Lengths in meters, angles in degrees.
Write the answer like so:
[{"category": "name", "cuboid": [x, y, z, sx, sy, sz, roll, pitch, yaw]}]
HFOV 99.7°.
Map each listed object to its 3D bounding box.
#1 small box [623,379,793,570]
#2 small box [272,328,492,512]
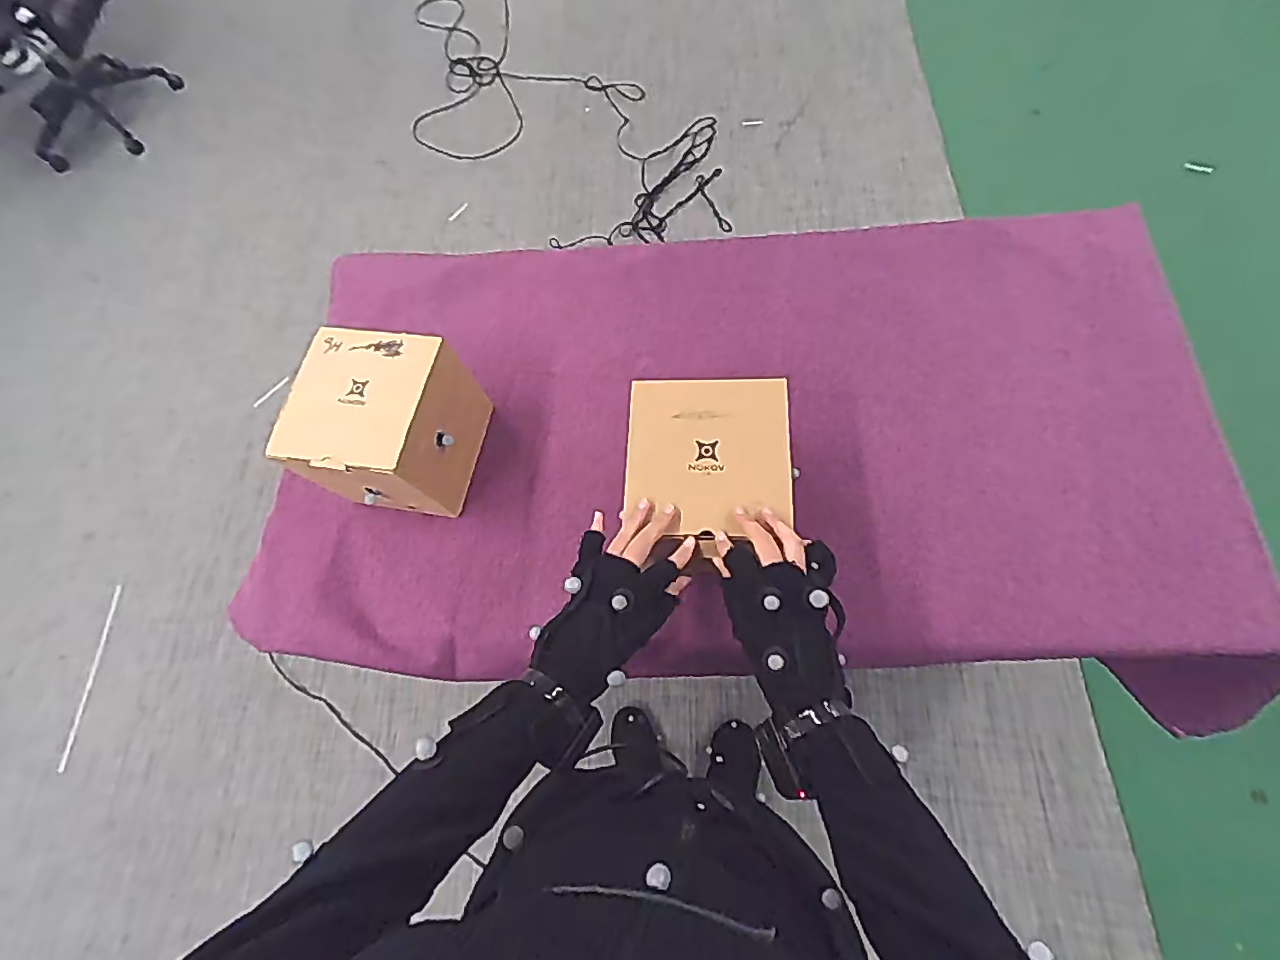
[{"category": "small box", "cuboid": [0.079, 0.003, 0.619, 0.168, 0.176, 0.179, 1, 69, 7]}, {"category": "small box", "cuboid": [-0.311, -0.068, 0.695, 0.168, 0.176, 0.179, 8, 71, 10]}]
